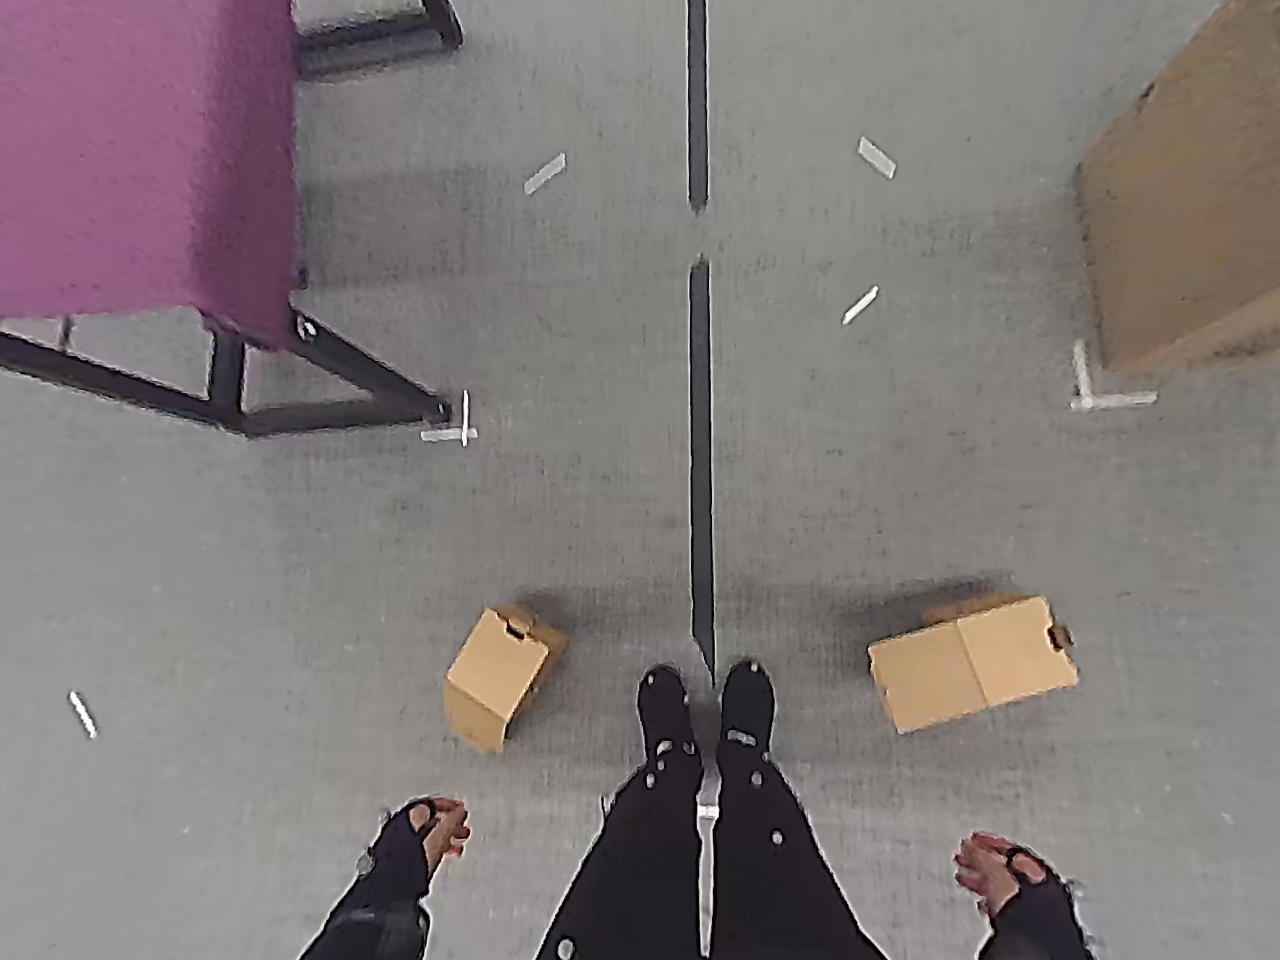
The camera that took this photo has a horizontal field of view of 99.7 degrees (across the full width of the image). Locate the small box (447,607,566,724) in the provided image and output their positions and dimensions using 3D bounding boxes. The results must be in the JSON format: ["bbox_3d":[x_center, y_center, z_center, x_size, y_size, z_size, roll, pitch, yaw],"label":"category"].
[{"bbox_3d":[-0.286,0.401,1.204,0.168,0.176,0.179,29,85,10],"label":"small box"}]
